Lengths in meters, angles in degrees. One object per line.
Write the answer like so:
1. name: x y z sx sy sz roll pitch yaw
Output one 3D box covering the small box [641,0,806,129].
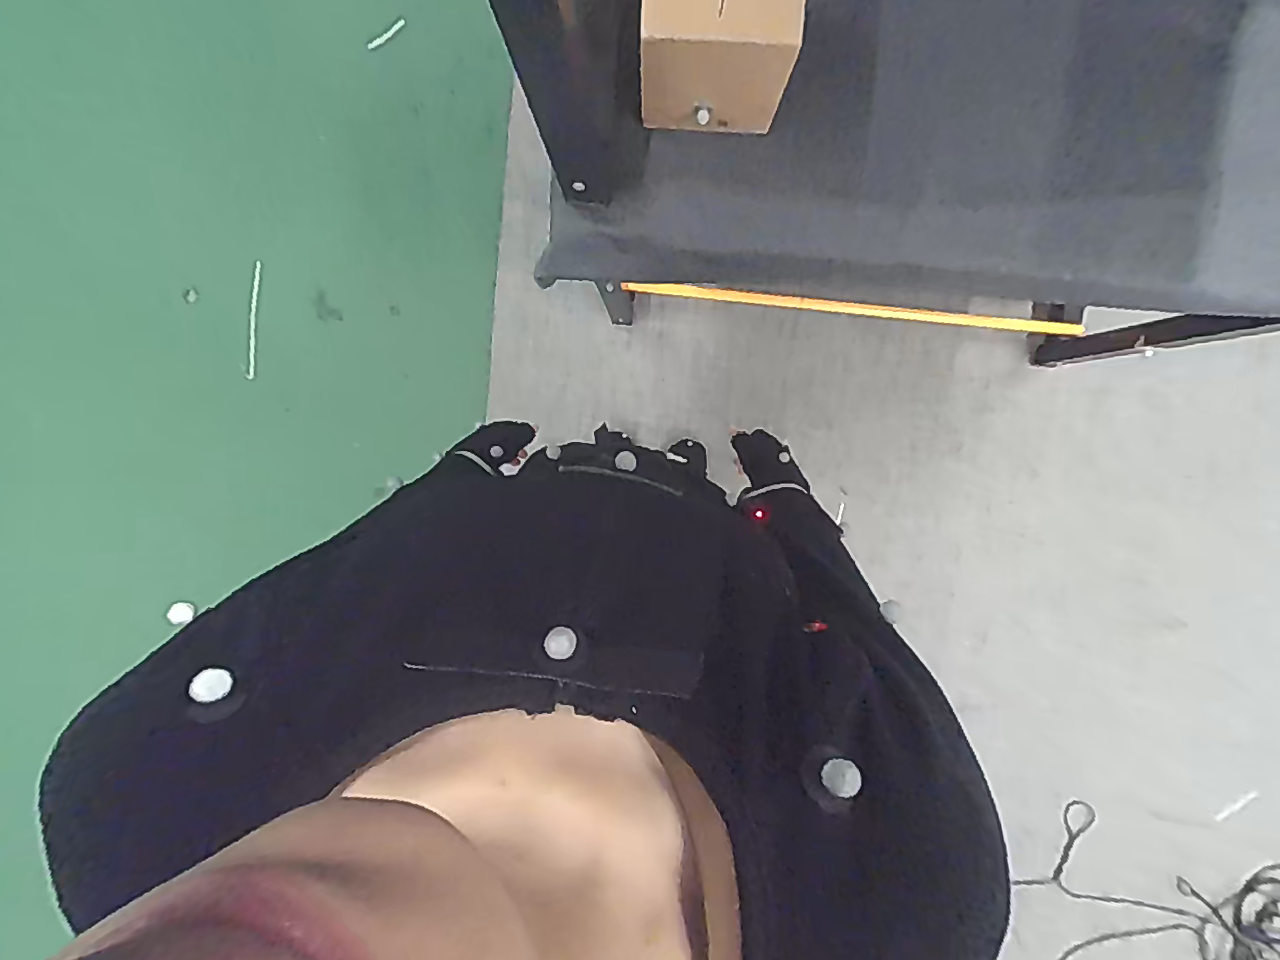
1. small box: 0.088 -0.538 0.610 0.168 0.176 0.179 3 96 1
